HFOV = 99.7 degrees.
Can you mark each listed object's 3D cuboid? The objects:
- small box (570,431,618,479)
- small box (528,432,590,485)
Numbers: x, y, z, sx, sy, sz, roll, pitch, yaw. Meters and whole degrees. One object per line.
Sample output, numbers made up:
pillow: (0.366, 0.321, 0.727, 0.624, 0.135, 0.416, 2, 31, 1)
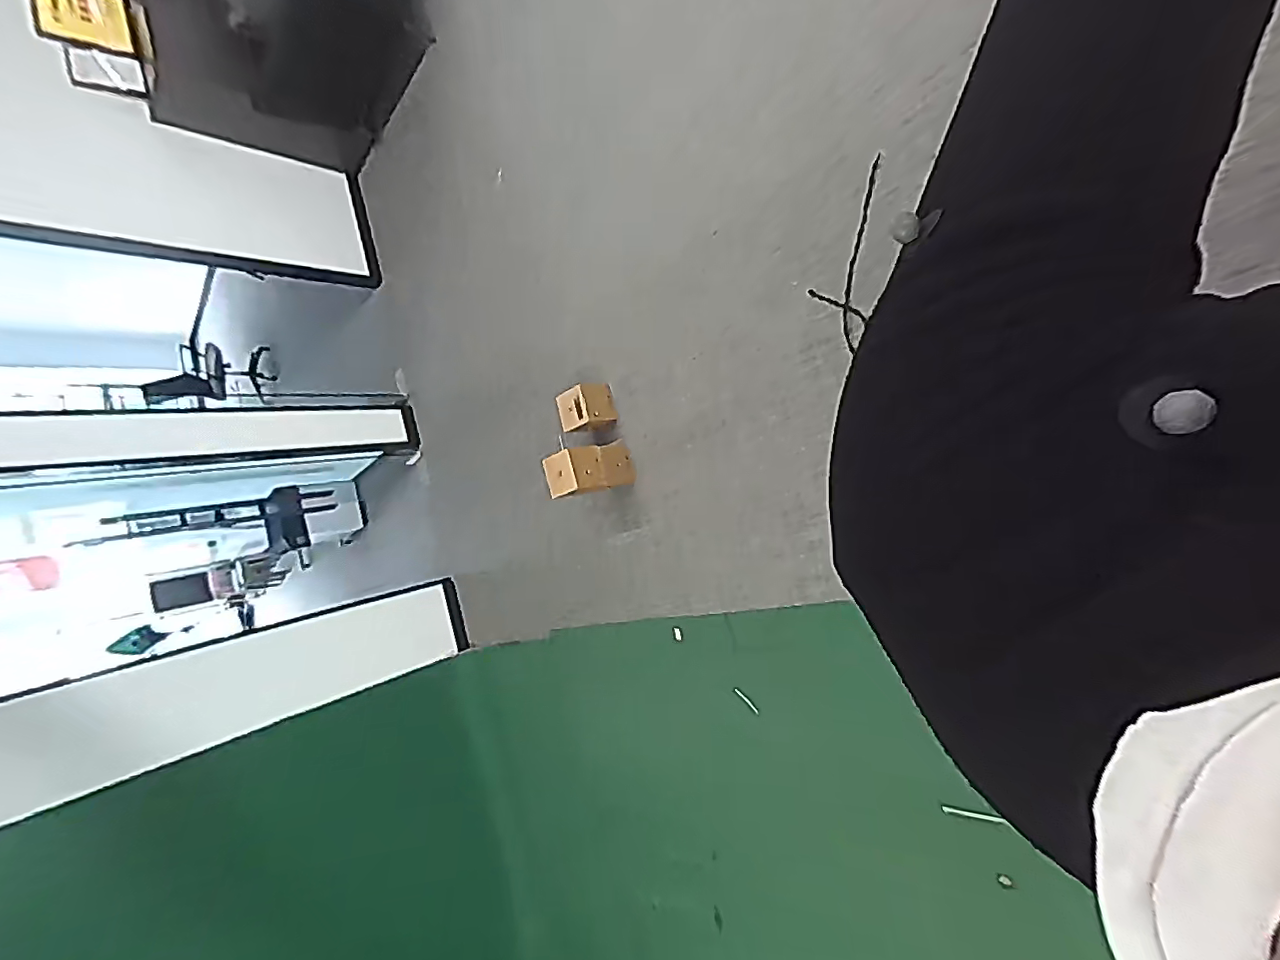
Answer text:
small box: (-0.213, -0.109, 2.314, 0.179, 0.176, 0.168, -16, 86, 43)
small box: (-0.322, -0.090, 2.196, 0.179, 0.176, 0.168, -20, 85, 43)
